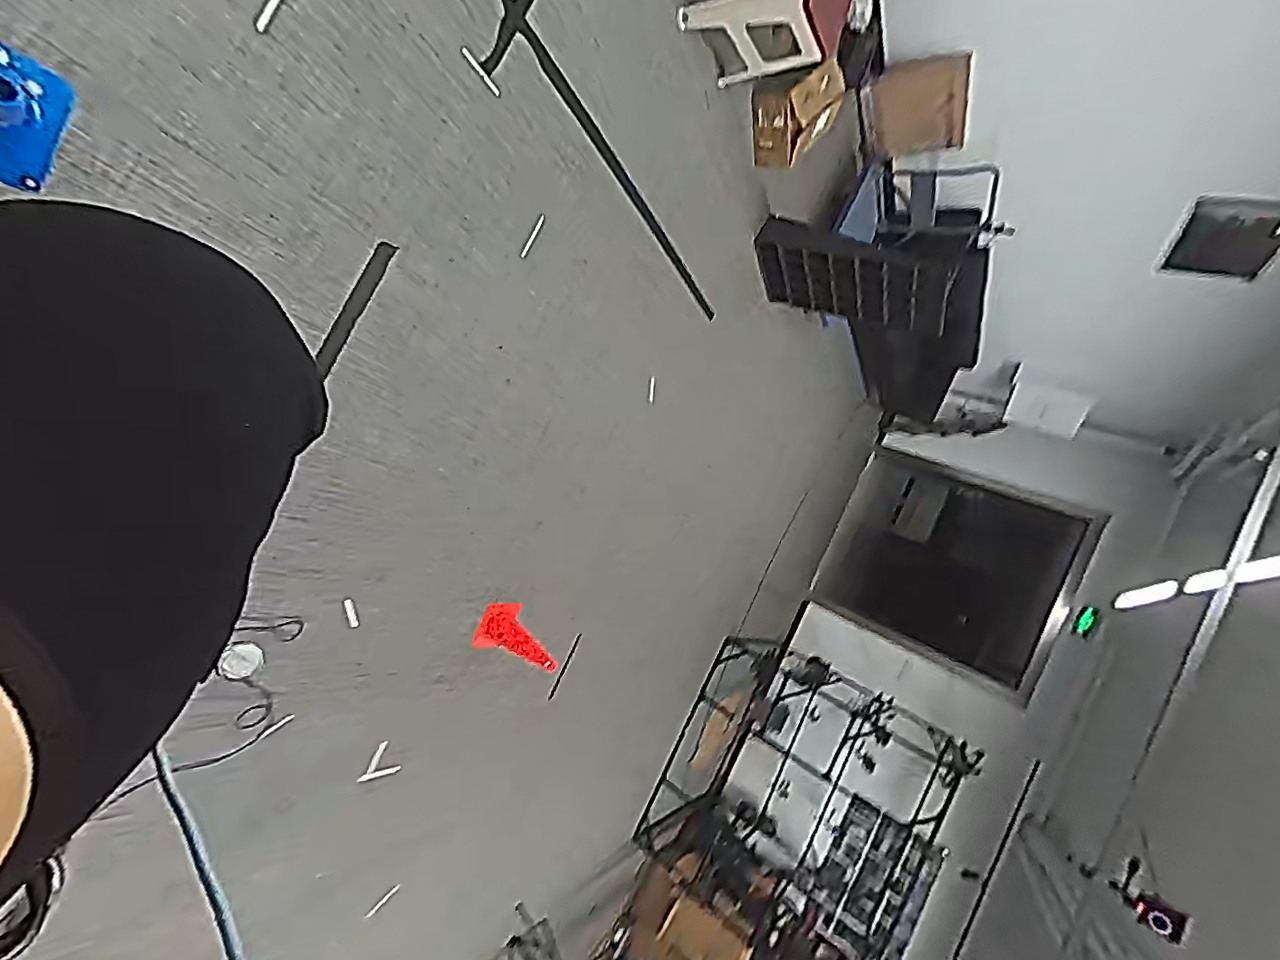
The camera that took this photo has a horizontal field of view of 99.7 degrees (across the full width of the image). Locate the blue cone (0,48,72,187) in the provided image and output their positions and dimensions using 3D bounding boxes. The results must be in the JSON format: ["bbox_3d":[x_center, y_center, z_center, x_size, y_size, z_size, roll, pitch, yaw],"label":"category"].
[{"bbox_3d":[-0.911,-0.539,0.759,0.192,0.380,0.193,21,92,-59],"label":"blue cone"}]

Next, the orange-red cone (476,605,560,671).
[{"bbox_3d":[-0.469,0.680,2.226,0.198,0.360,0.199,23,90,-59],"label":"orange-red cone"}]
